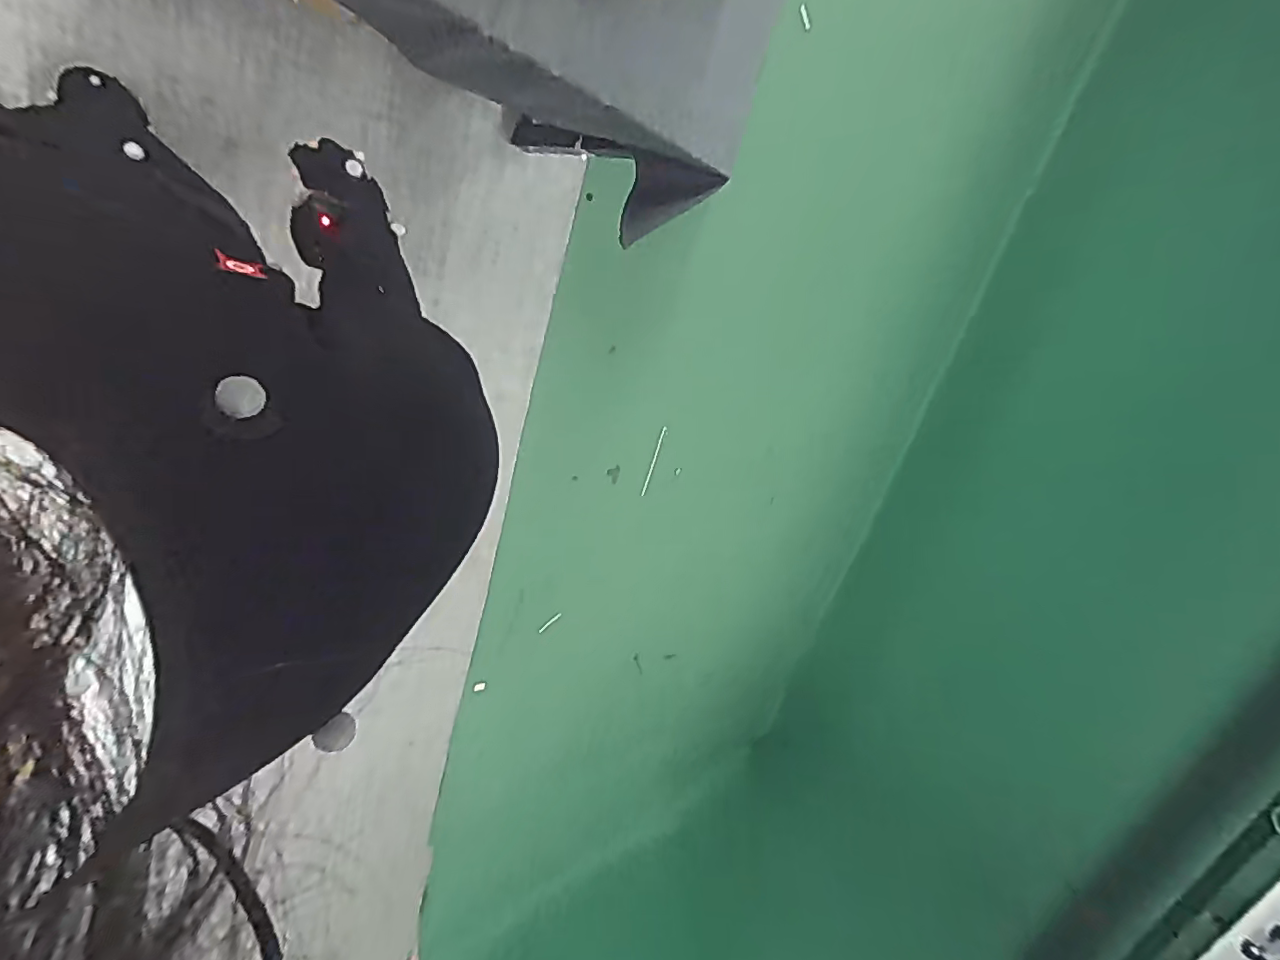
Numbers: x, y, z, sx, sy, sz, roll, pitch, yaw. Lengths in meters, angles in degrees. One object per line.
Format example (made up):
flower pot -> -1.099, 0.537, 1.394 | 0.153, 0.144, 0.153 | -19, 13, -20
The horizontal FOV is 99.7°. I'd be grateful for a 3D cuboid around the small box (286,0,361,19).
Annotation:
small box -> -0.602, -0.953, 0.951 | 0.179, 0.176, 0.168 | -3, 118, -41
